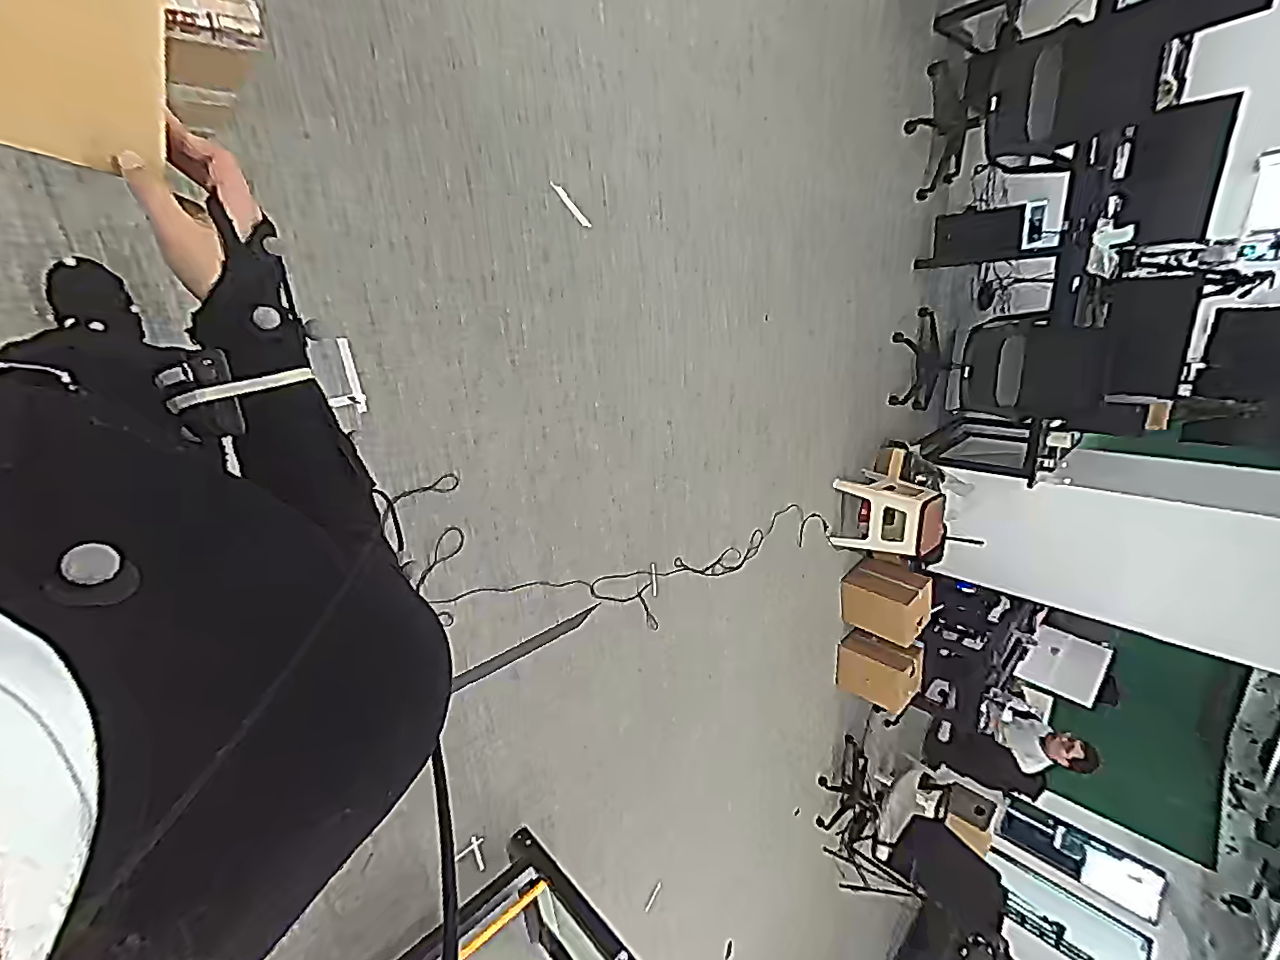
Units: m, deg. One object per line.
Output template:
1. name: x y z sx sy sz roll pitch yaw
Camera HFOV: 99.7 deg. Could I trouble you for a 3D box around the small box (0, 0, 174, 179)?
1. small box: -0.400 -0.302 0.319 0.179 0.176 0.168 -2 115 -45
